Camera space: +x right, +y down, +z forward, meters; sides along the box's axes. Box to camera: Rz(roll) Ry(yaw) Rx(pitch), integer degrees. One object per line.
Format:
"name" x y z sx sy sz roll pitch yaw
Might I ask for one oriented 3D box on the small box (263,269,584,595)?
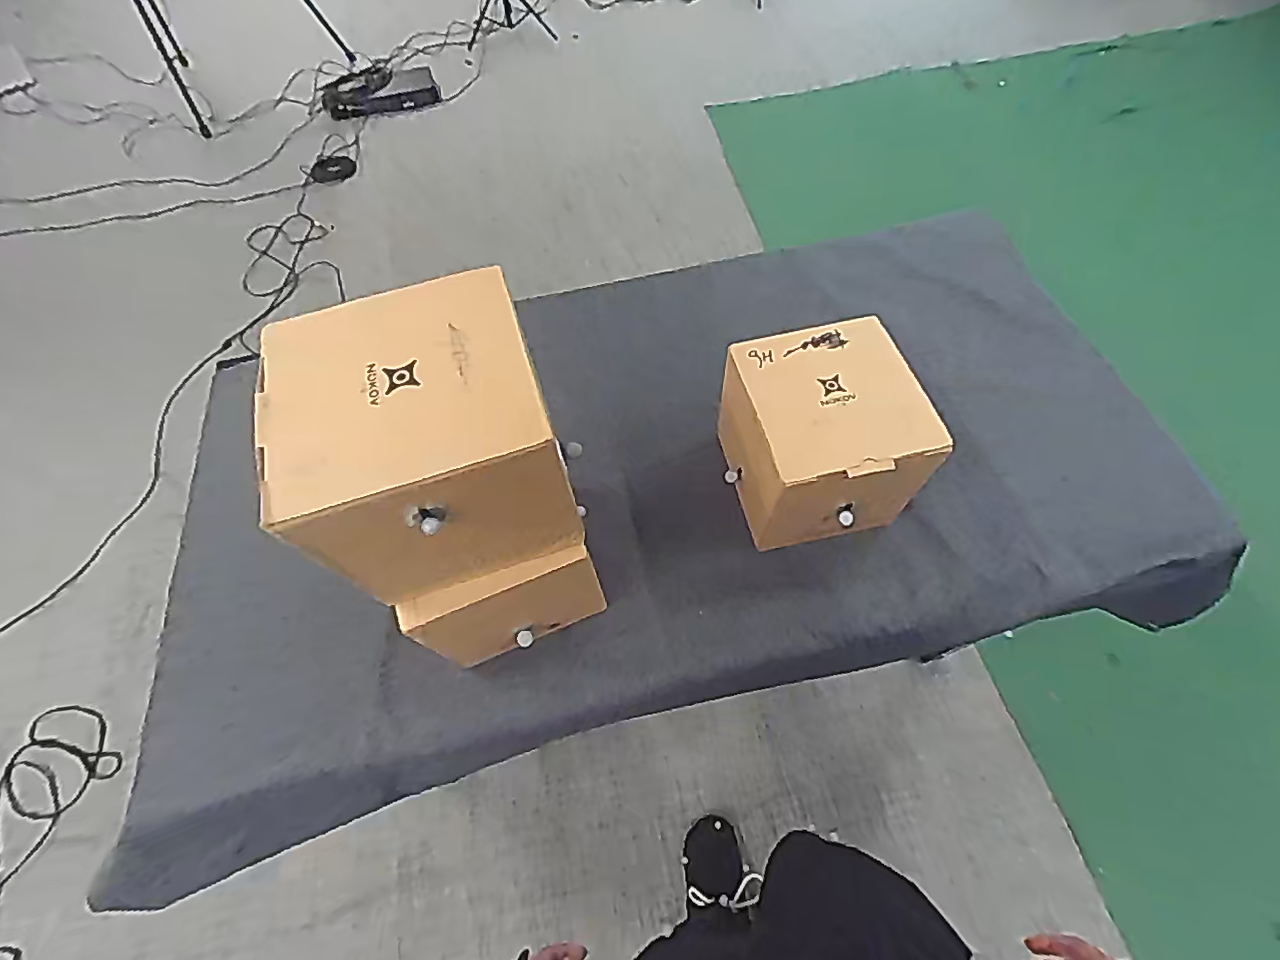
"small box" -0.156 -0.027 0.426 0.179 0.176 0.168 -17 63 -8

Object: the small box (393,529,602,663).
"small box" -0.149 0.065 0.560 0.168 0.176 0.179 -21 63 -9

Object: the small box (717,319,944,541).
"small box" 0.191 -0.044 0.605 0.168 0.176 0.179 -12 62 -4
